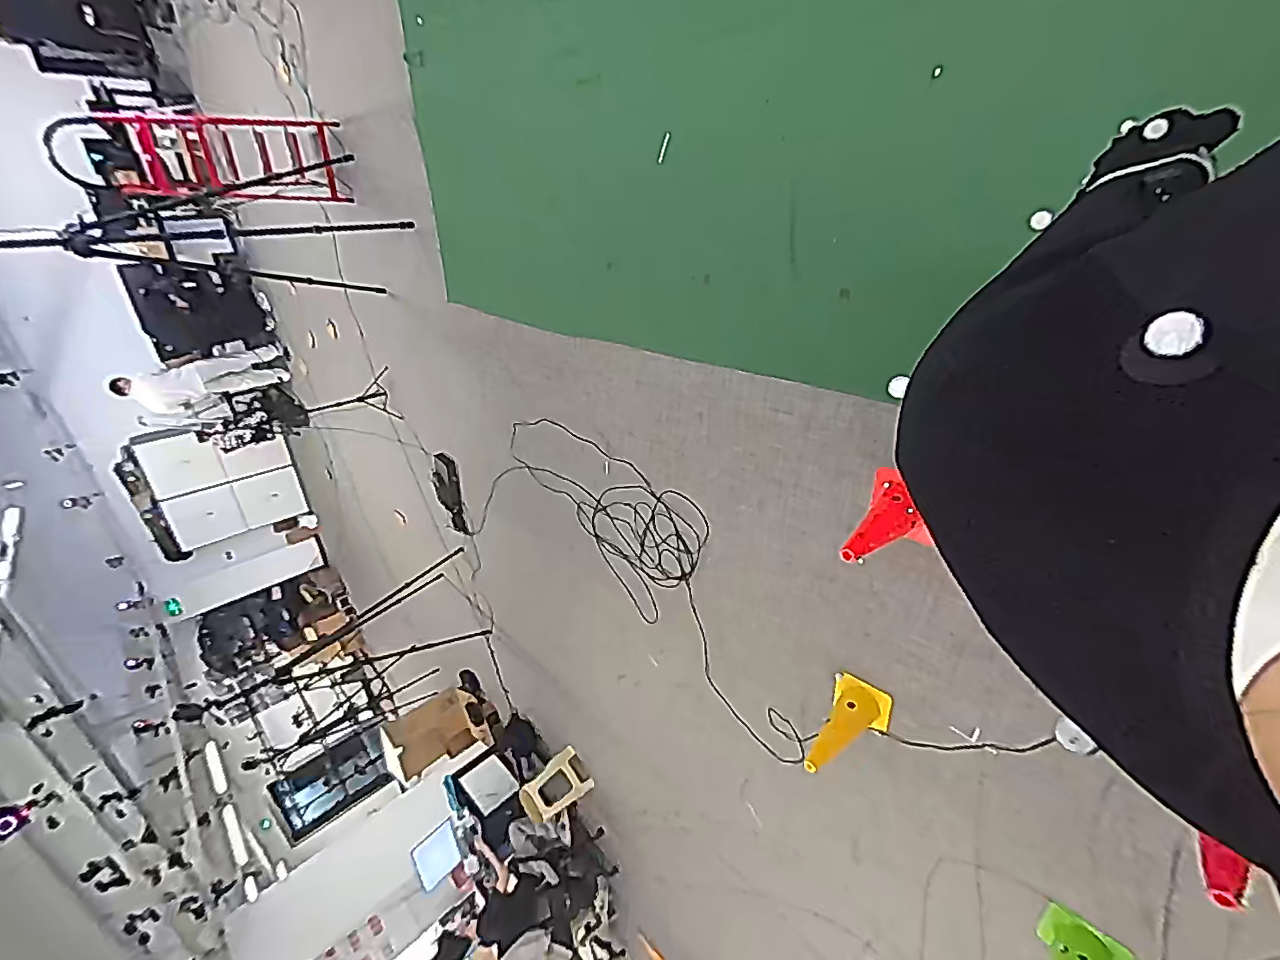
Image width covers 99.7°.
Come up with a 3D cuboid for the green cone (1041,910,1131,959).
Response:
[{"bbox_3d":[1.221,1.478,1.526,0.202,0.368,0.200,23,125,43],"label":"green cone"}]

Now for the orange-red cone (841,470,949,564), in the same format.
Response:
[{"bbox_3d":[0.656,0.139,1.473,0.198,0.360,0.199,25,128,41],"label":"orange-red cone"}]
